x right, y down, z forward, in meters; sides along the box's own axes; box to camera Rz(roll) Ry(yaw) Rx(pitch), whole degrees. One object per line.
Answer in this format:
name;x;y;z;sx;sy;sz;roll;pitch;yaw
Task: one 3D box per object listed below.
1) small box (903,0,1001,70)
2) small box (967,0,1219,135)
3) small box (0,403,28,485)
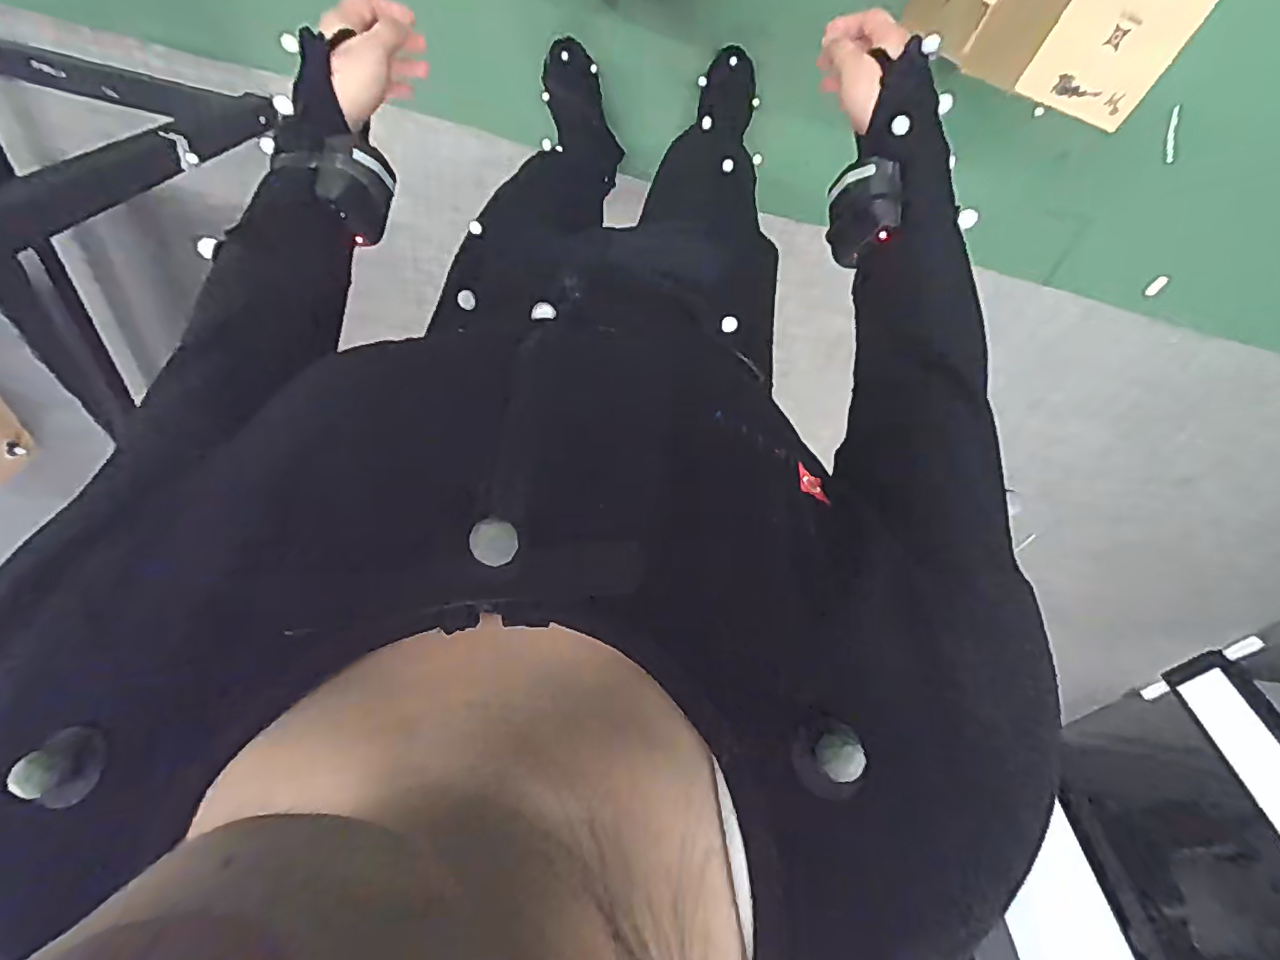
small box;0.585;-0.829;0.927;0.168;0.176;0.179;16;133;-15
small box;0.574;-0.591;0.701;0.168;0.176;0.179;12;133;-13
small box;-0.958;-0.052;0.684;0.179;0.176;0.168;12;135;-7
